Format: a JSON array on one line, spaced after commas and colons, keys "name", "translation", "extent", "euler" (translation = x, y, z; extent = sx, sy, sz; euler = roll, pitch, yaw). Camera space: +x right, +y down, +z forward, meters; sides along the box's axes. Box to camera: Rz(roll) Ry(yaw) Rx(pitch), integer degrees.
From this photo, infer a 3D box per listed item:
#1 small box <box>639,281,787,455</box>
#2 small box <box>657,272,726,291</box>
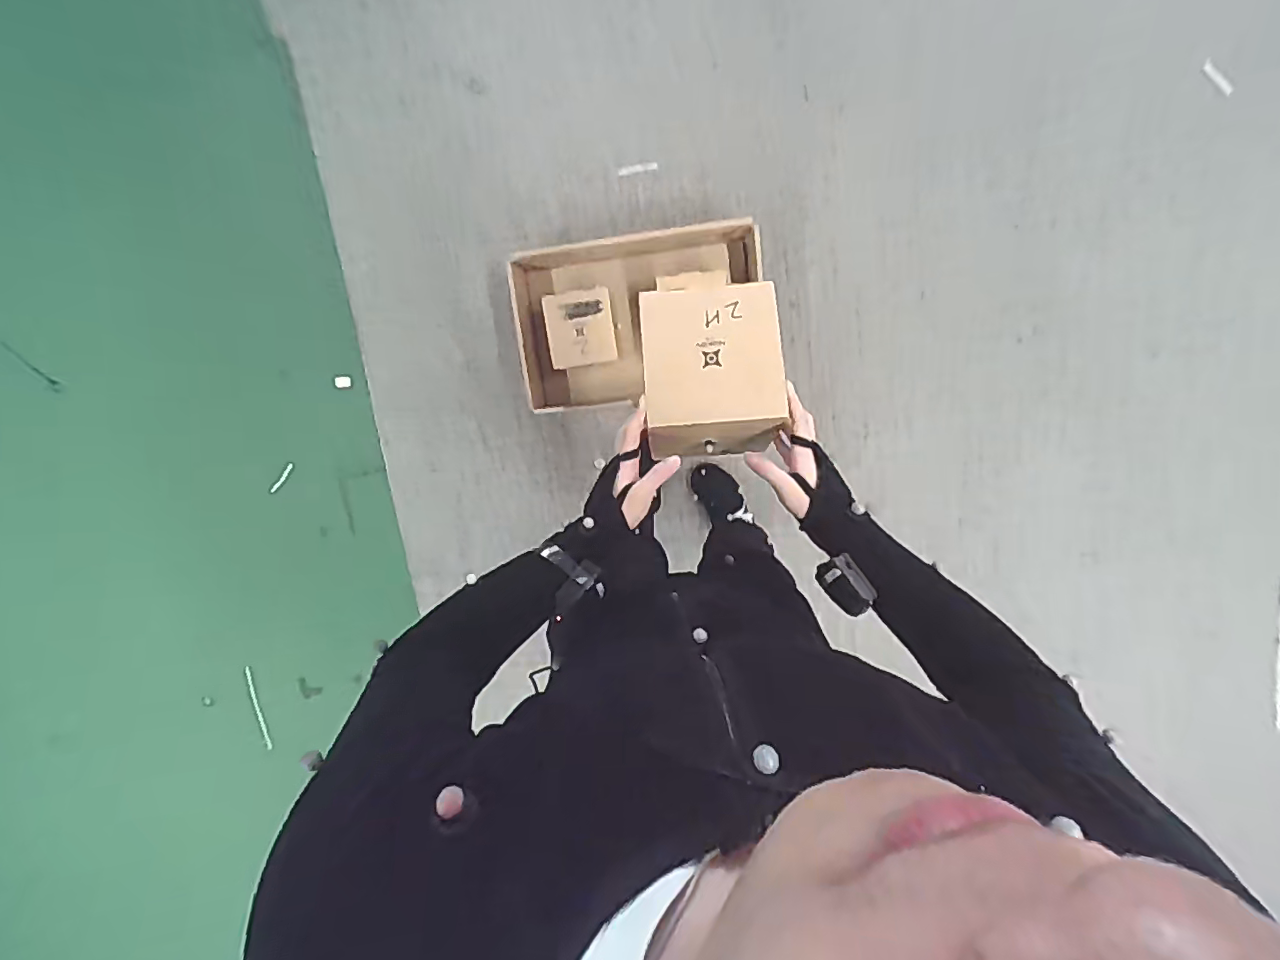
[{"name": "small box", "translation": [0.089, -0.134, 0.714], "extent": [0.168, 0.176, 0.179], "euler": [-4, 78, 3]}, {"name": "small box", "translation": [0.137, -0.416, 1.373], "extent": [0.168, 0.176, 0.179], "euler": [-5, 100, 6]}]
